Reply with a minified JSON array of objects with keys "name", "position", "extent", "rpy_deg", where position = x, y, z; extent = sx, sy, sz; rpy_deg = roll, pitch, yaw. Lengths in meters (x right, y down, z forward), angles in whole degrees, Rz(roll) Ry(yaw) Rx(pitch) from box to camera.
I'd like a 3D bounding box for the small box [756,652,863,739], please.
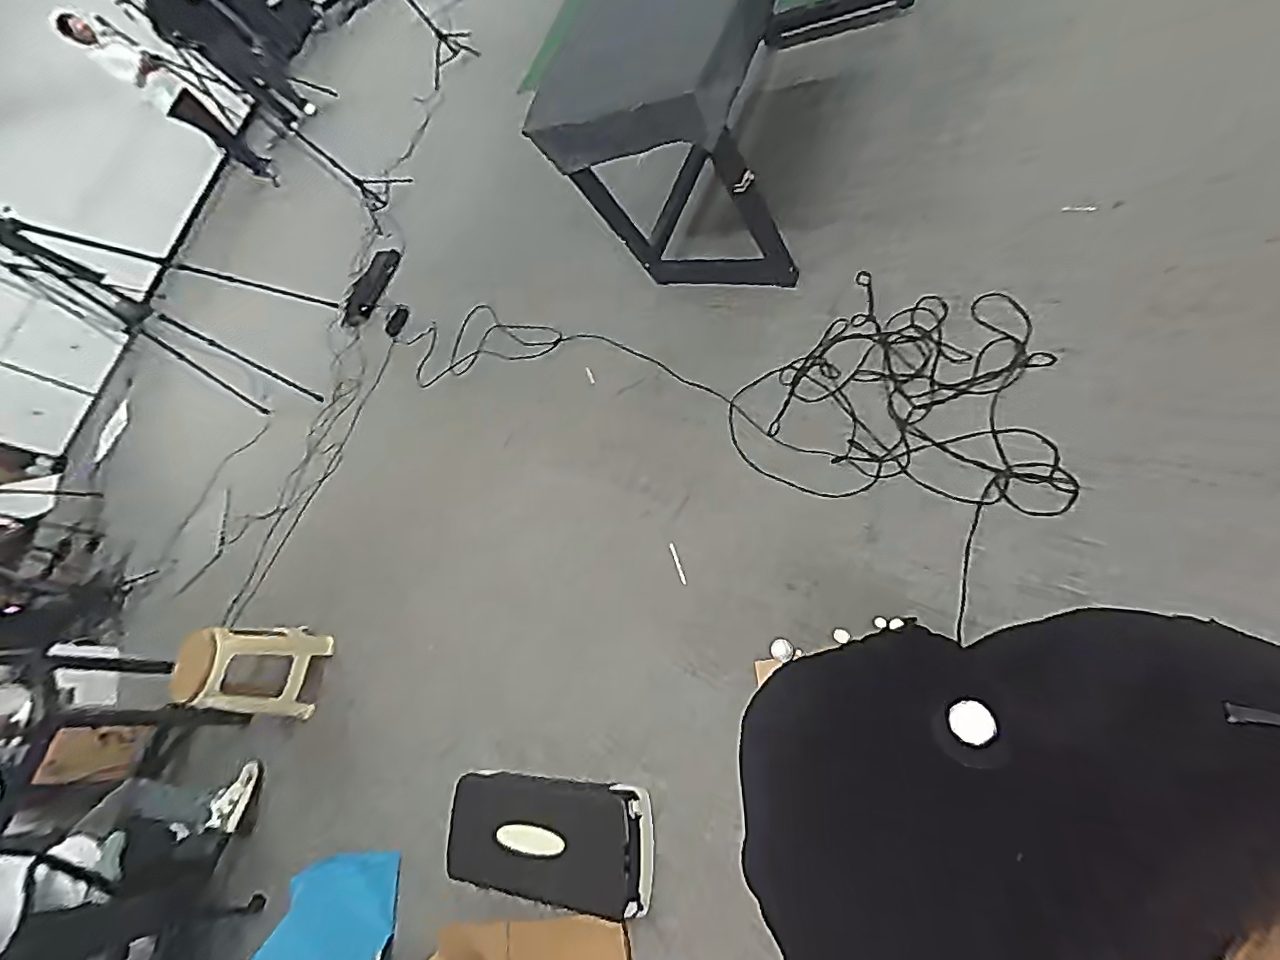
[{"name":"small box","position":[0.387,0.495,1.231],"extent":[0.179,0.176,0.168],"rpy_deg":[-19,61,26]}]
